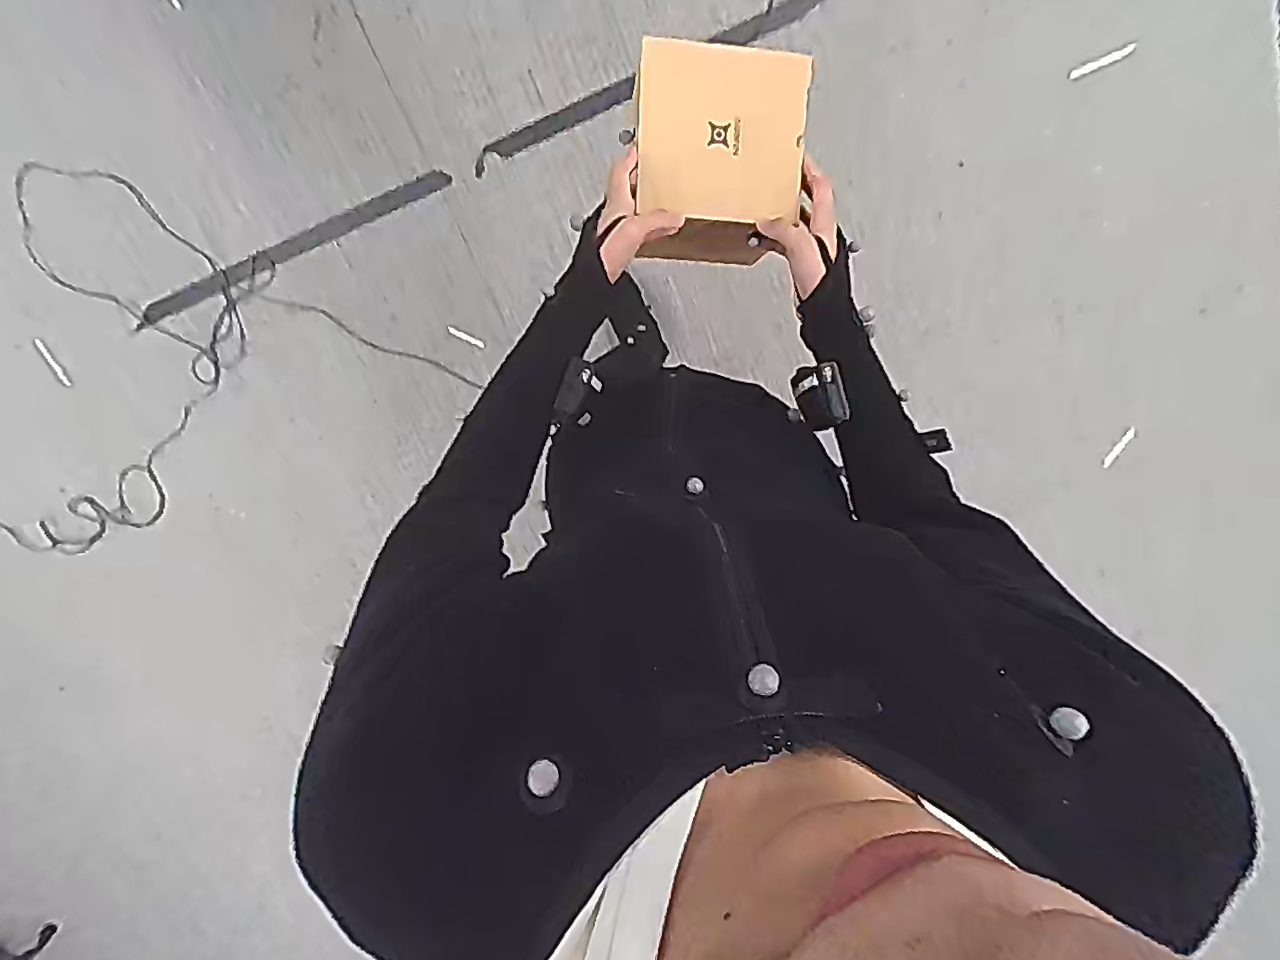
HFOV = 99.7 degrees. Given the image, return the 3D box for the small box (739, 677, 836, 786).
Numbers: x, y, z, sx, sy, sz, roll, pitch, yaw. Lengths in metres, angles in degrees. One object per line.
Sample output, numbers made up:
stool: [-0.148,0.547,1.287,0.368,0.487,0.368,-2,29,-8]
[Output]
small box: [0.382,0.656,1.426,0.179,0.176,0.168,-25,106,7]

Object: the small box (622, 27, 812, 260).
small box: [0.072,-0.358,0.610,0.179,0.176,0.168,1,98,-7]
